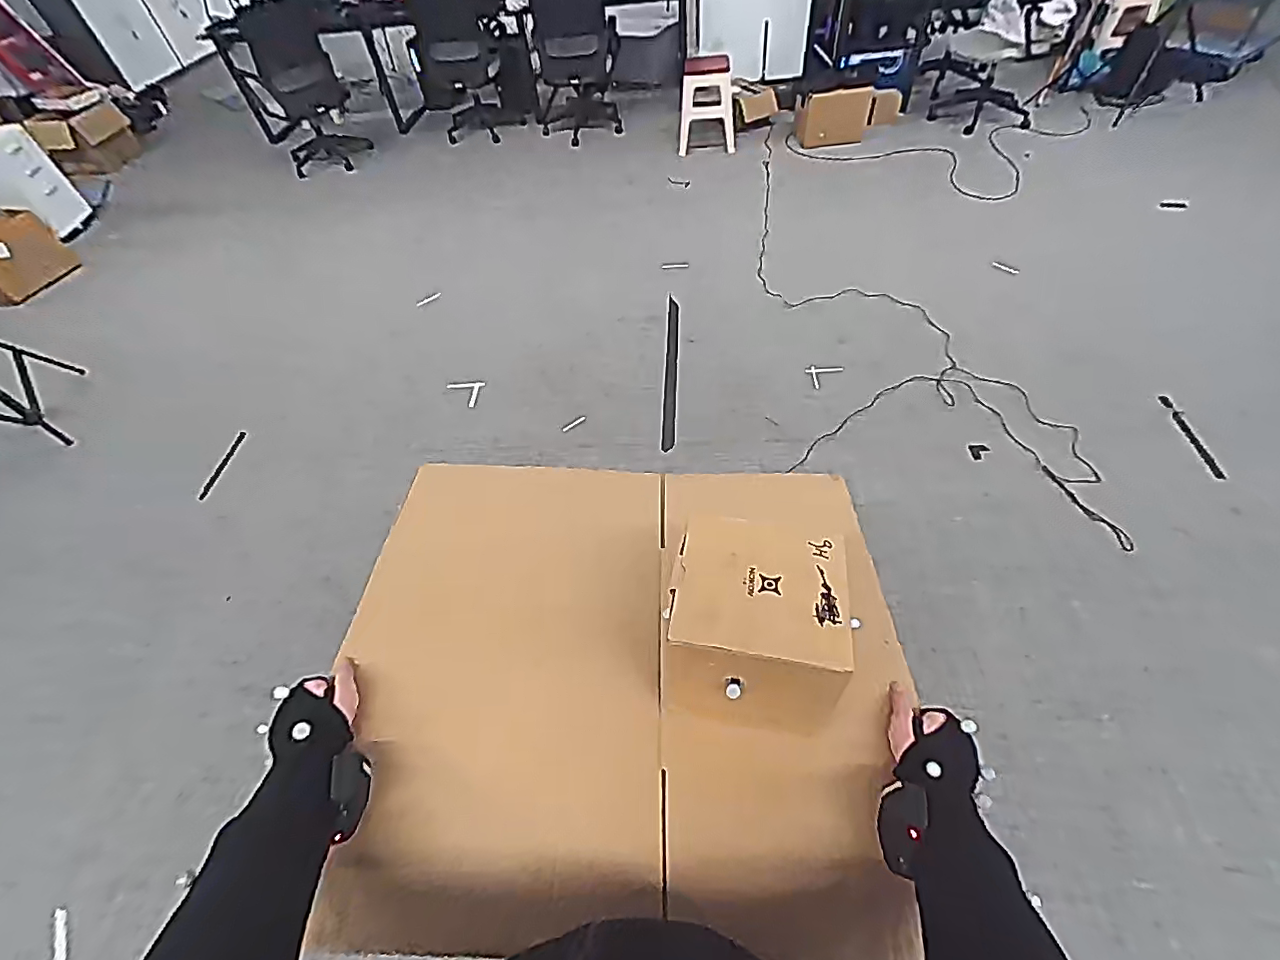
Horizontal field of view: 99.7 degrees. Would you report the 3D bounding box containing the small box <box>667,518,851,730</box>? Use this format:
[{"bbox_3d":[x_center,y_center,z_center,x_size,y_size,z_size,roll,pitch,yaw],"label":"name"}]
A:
[{"bbox_3d":[0.132,0.166,0.622,0.179,0.176,0.168,6,46,10],"label":"small box"}]
